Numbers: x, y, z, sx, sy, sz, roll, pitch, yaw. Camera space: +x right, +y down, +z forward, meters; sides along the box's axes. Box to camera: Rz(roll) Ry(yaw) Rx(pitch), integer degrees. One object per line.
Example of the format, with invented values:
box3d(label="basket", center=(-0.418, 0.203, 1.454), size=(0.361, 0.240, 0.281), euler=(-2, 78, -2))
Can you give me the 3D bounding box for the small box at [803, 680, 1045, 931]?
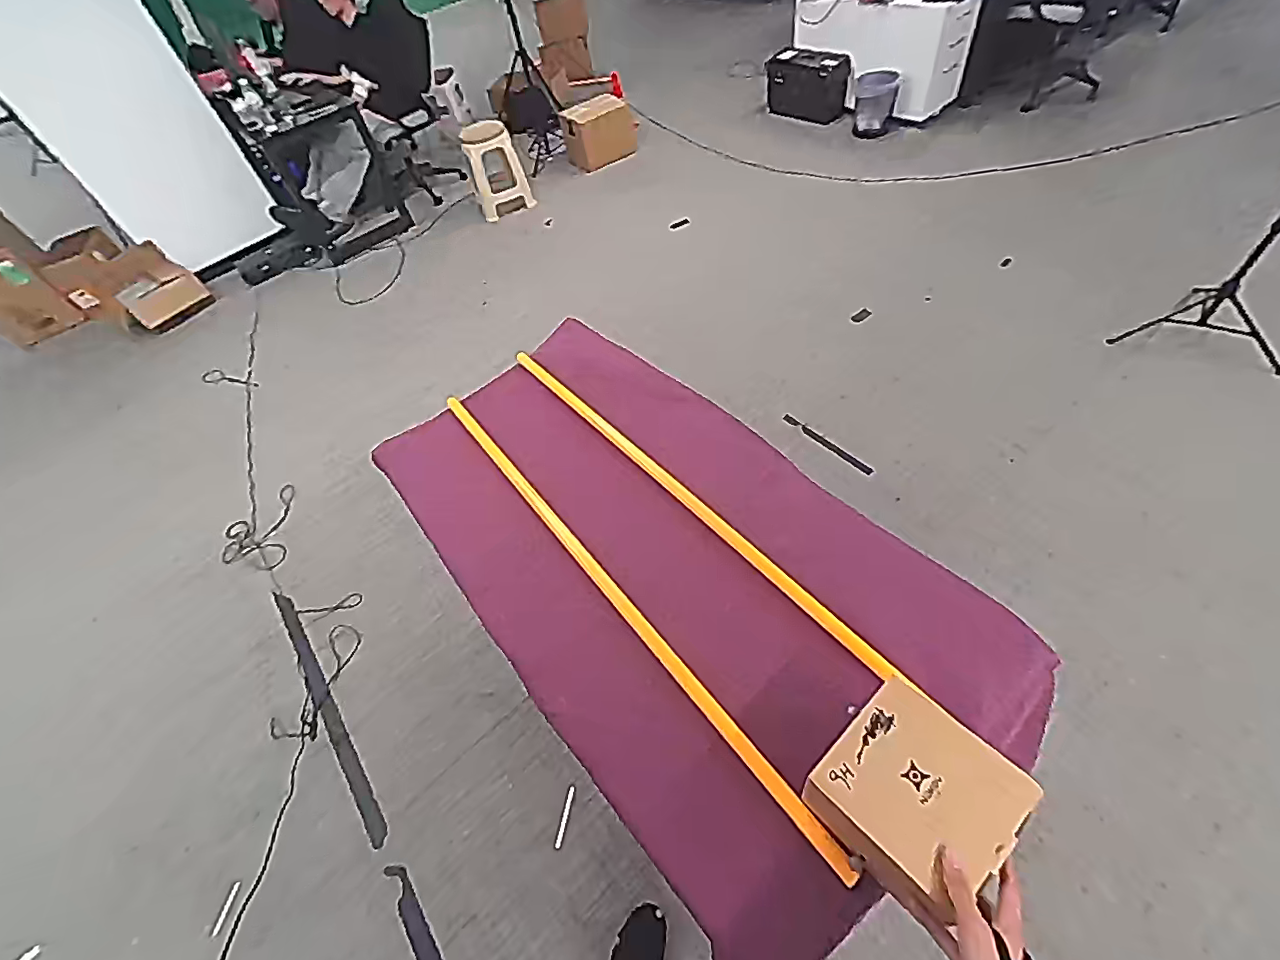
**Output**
box3d(label="small box", center=(0.316, 0.378, 0.639), size=(0.168, 0.176, 0.179), euler=(-39, 54, -18))
